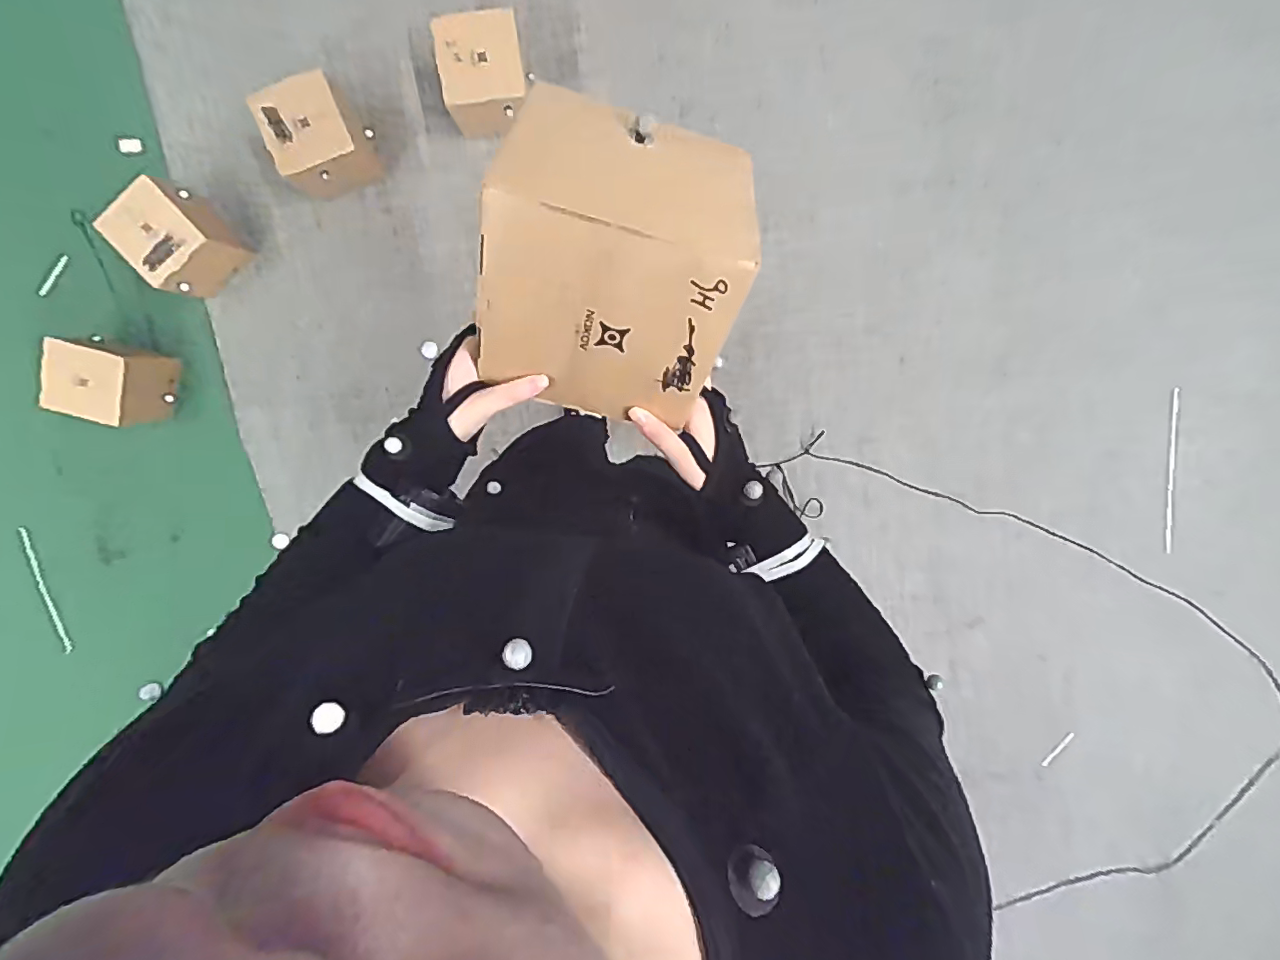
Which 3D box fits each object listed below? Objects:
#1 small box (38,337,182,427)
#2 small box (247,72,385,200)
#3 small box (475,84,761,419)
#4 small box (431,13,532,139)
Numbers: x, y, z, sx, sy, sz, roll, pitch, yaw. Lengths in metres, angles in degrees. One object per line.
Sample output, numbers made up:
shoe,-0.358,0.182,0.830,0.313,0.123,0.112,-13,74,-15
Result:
small box,-1.269,-0.236,1.304,0.179,0.176,0.168,16,101,-5
small box,-0.717,-0.761,1.217,0.179,0.176,0.168,-20,102,1
small box,-0.020,-0.181,0.435,0.179,0.176,0.168,14,142,-9
small box,-0.341,-0.890,1.207,0.179,0.176,0.168,-7,101,-1
